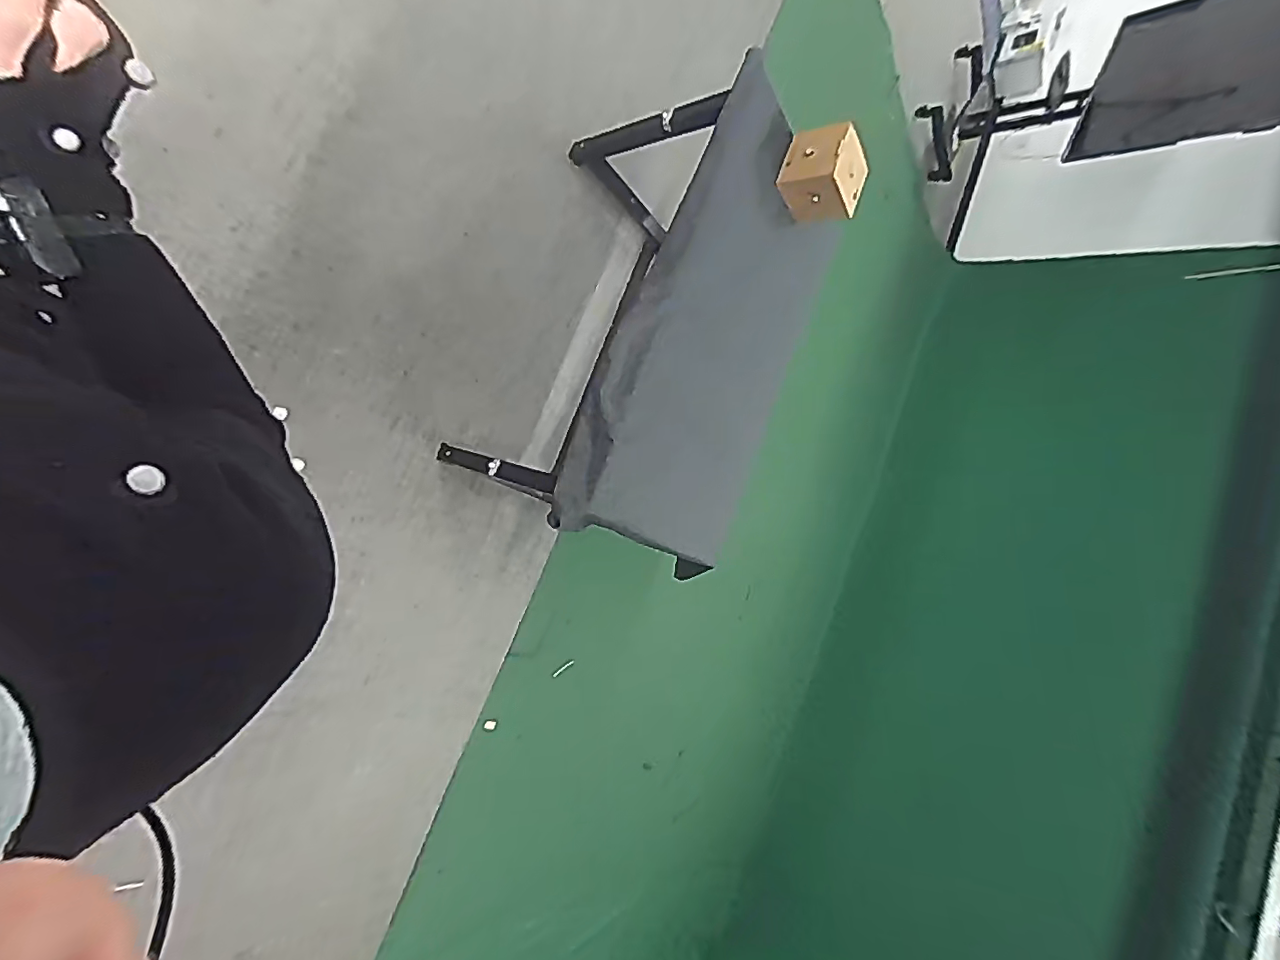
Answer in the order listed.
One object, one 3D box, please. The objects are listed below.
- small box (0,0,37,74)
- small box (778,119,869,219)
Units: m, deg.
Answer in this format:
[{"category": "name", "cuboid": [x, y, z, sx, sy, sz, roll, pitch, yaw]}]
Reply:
[{"category": "small box", "cuboid": [-0.431, -0.365, 0.272, 0.168, 0.176, 0.179, 4, 87, -45]}, {"category": "small box", "cuboid": [0.513, -0.859, 1.518, 0.179, 0.176, 0.168, 29, 81, -48]}]
